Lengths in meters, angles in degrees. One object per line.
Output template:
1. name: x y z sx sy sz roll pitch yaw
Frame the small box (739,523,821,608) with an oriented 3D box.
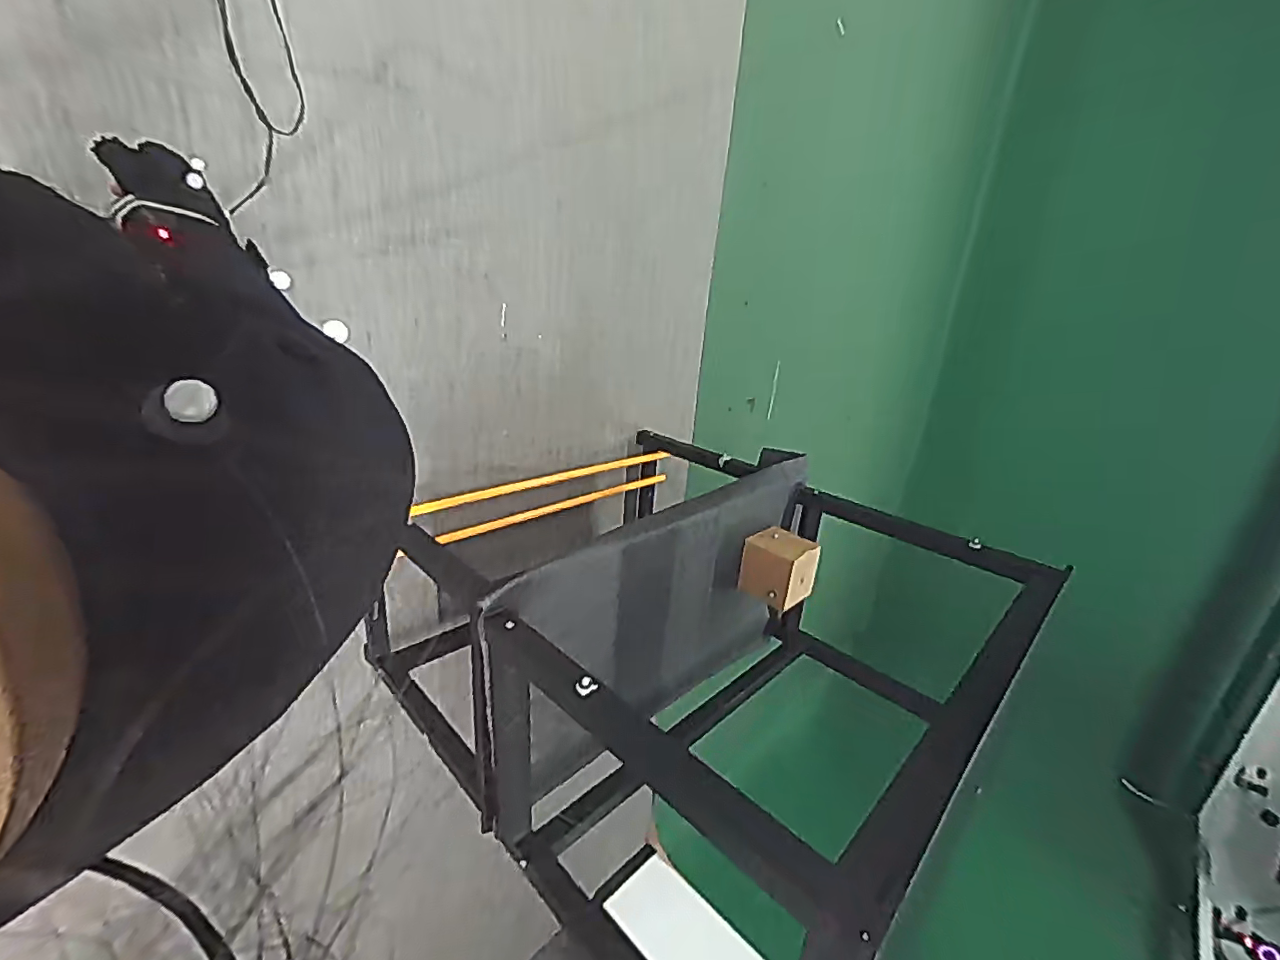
1. small box: 0.422 0.255 1.649 0.168 0.176 0.179 -15 119 -43
